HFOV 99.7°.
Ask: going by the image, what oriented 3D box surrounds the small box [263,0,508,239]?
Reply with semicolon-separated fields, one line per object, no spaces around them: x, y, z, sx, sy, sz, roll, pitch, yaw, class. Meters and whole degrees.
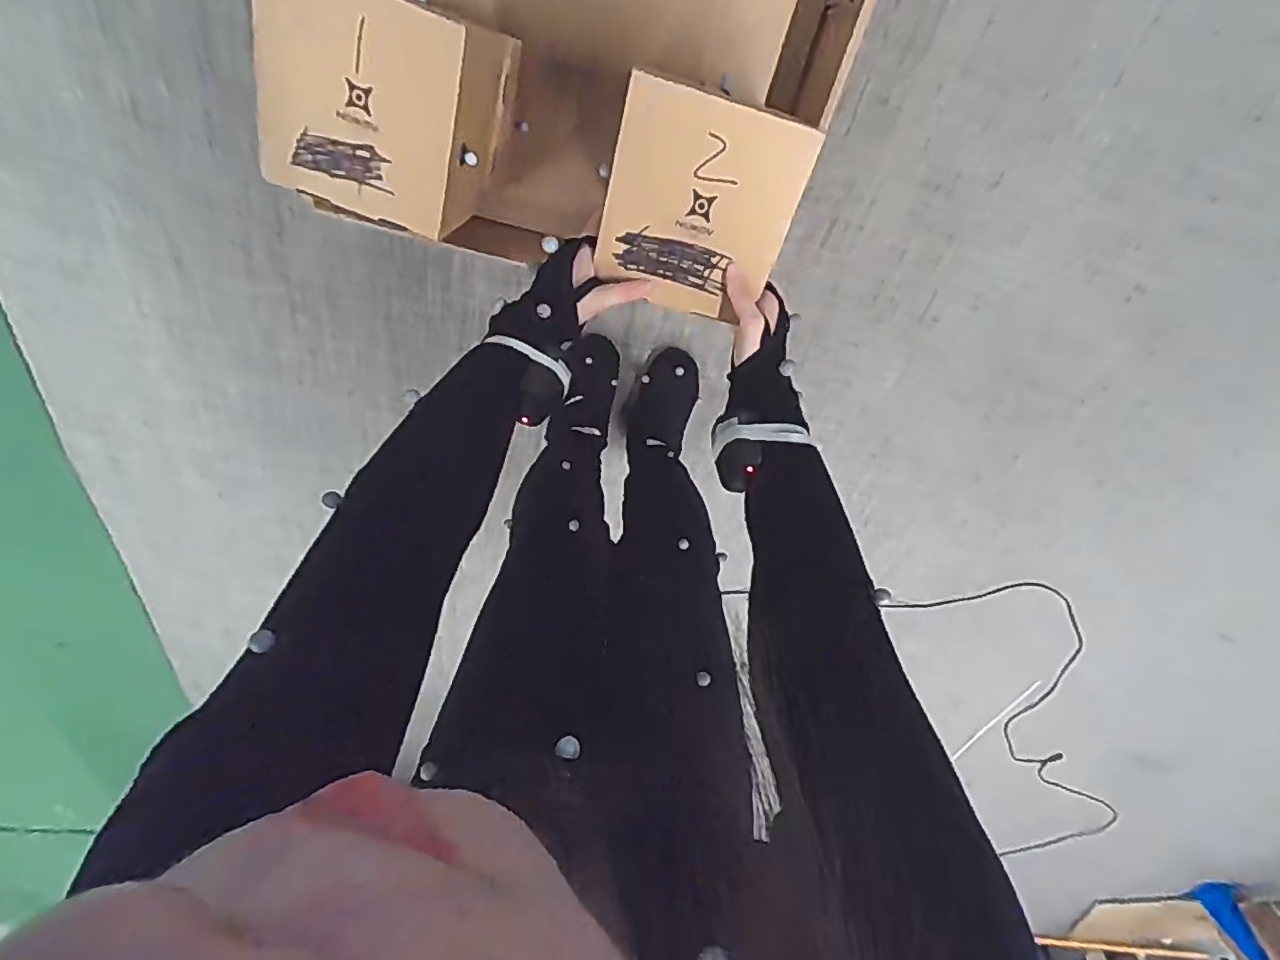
-0.239;-0.373;0.538;0.168;0.176;0.179;16;124;-12;small box
